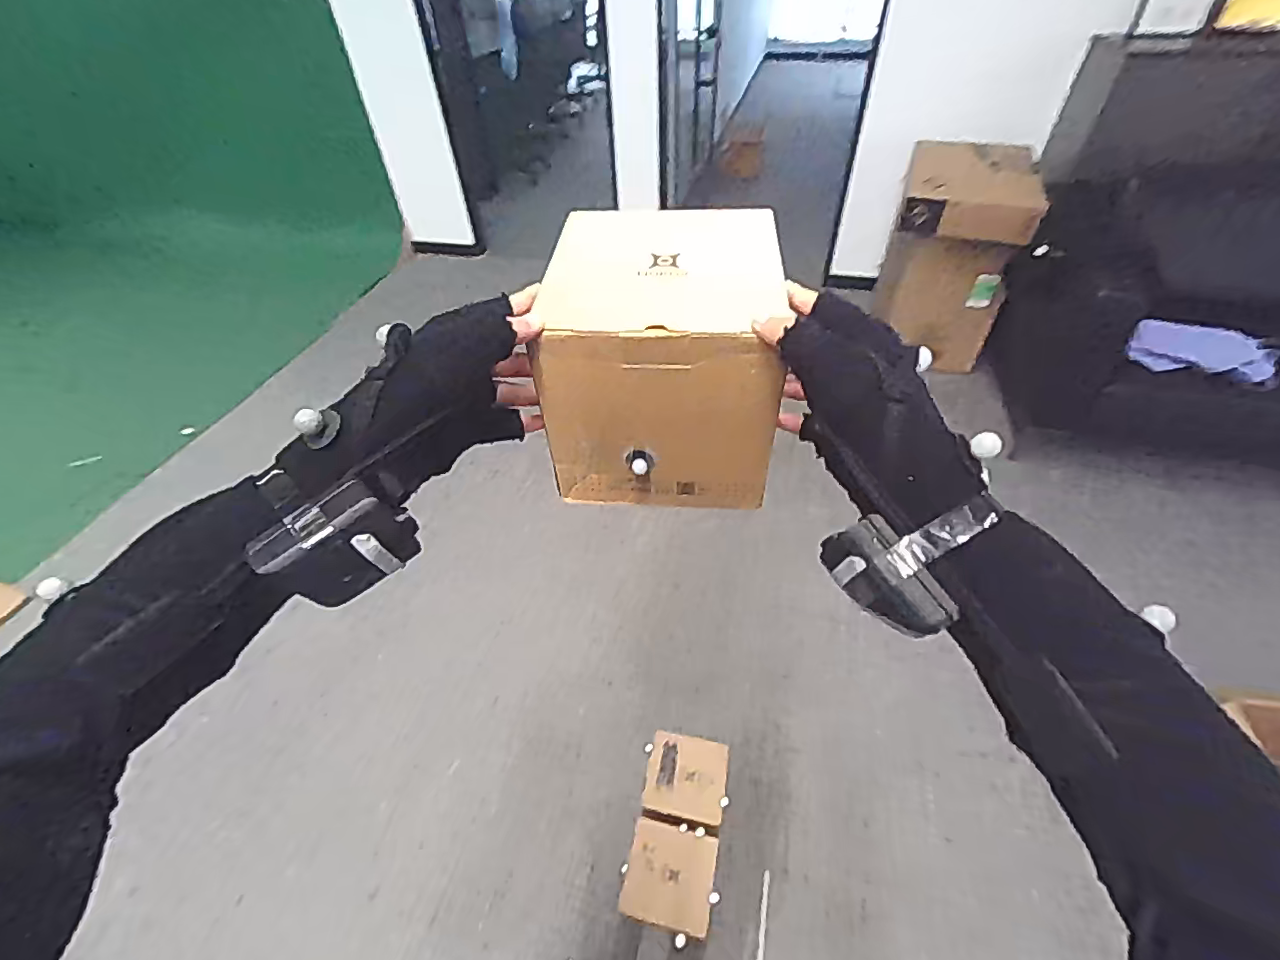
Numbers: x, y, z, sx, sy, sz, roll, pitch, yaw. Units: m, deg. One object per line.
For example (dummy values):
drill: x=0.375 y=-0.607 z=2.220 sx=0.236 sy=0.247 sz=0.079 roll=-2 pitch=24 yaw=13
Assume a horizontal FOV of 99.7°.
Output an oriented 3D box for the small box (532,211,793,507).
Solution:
small box: x=0.021 y=-0.100 z=0.446 sx=0.168 sy=0.176 sz=0.179 roll=2 pitch=49 yaw=4
